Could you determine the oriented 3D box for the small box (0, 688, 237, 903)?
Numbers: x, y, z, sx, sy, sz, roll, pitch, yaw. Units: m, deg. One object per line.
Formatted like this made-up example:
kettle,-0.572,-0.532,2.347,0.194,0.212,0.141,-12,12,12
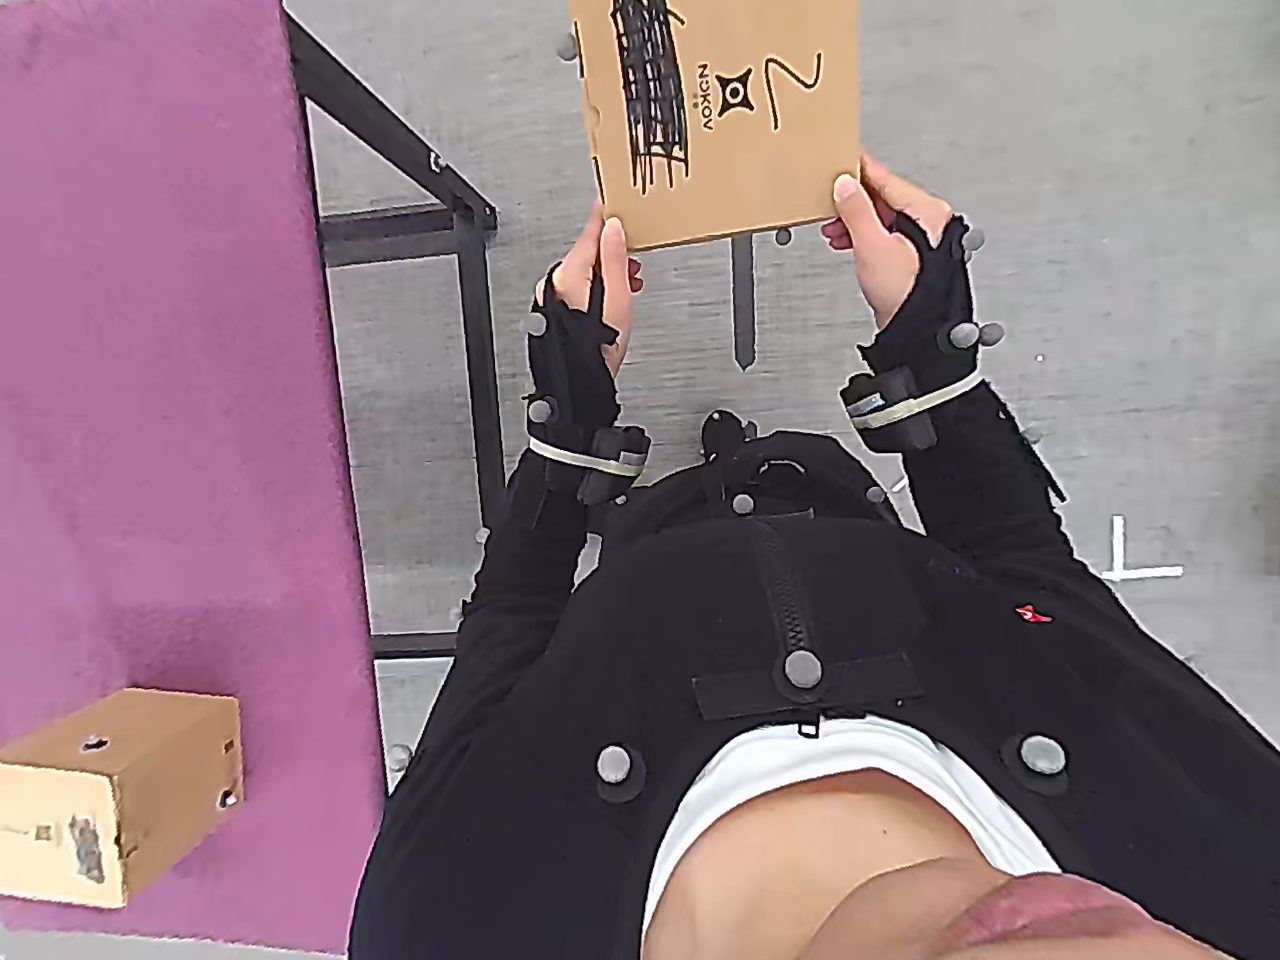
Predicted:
small box,-0.652,0.384,0.687,0.179,0.176,0.168,3,97,6
